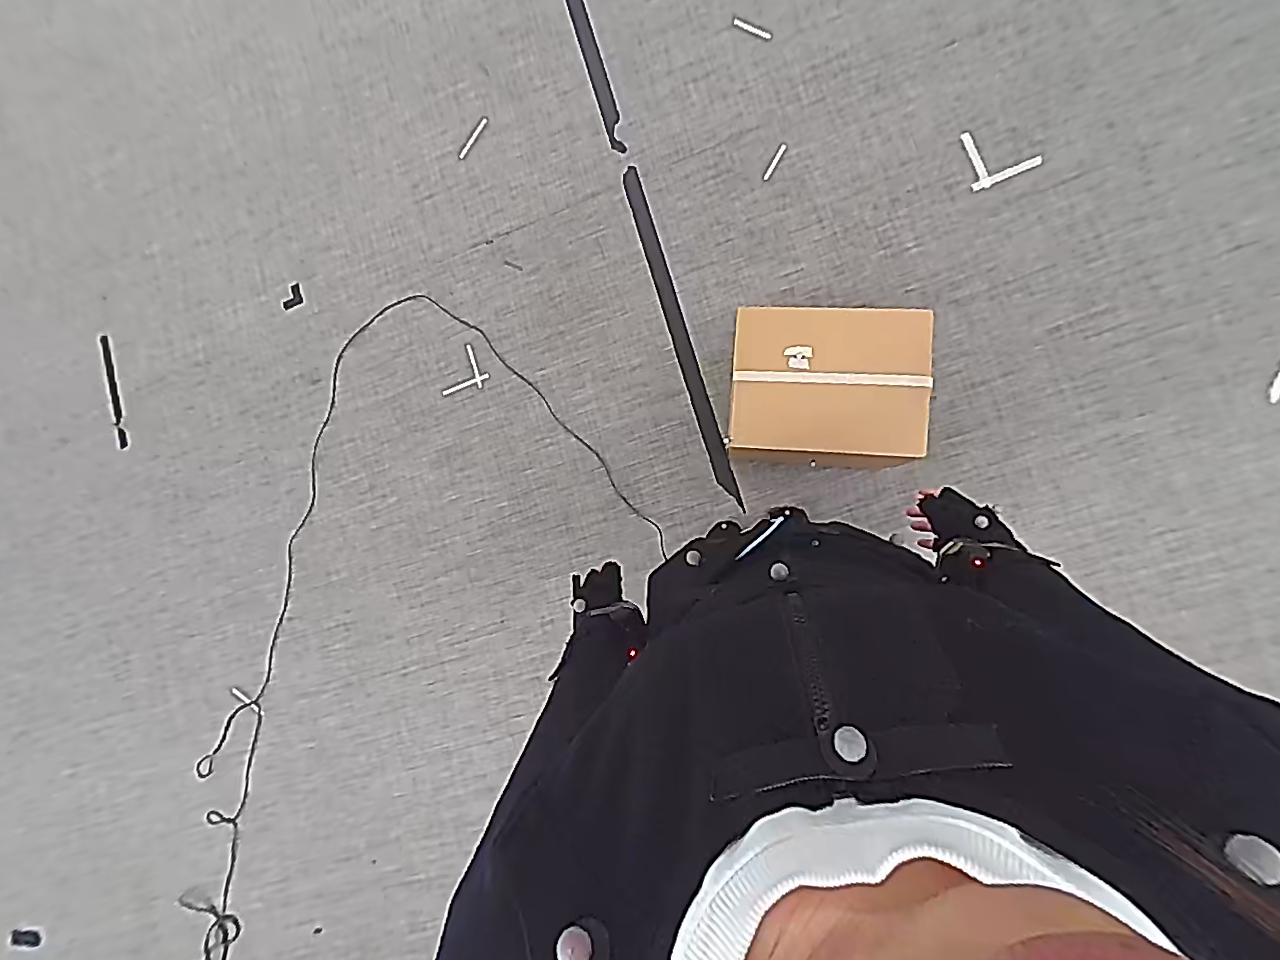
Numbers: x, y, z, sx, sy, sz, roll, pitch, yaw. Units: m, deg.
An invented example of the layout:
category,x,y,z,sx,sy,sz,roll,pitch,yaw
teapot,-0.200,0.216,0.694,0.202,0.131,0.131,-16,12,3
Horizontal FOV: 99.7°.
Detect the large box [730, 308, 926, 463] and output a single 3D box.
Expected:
category,x,y,z,sx,sy,sz,roll,pitch,yaw
large box,0.430,-0.209,1.311,0.408,0.320,0.320,3,87,11
